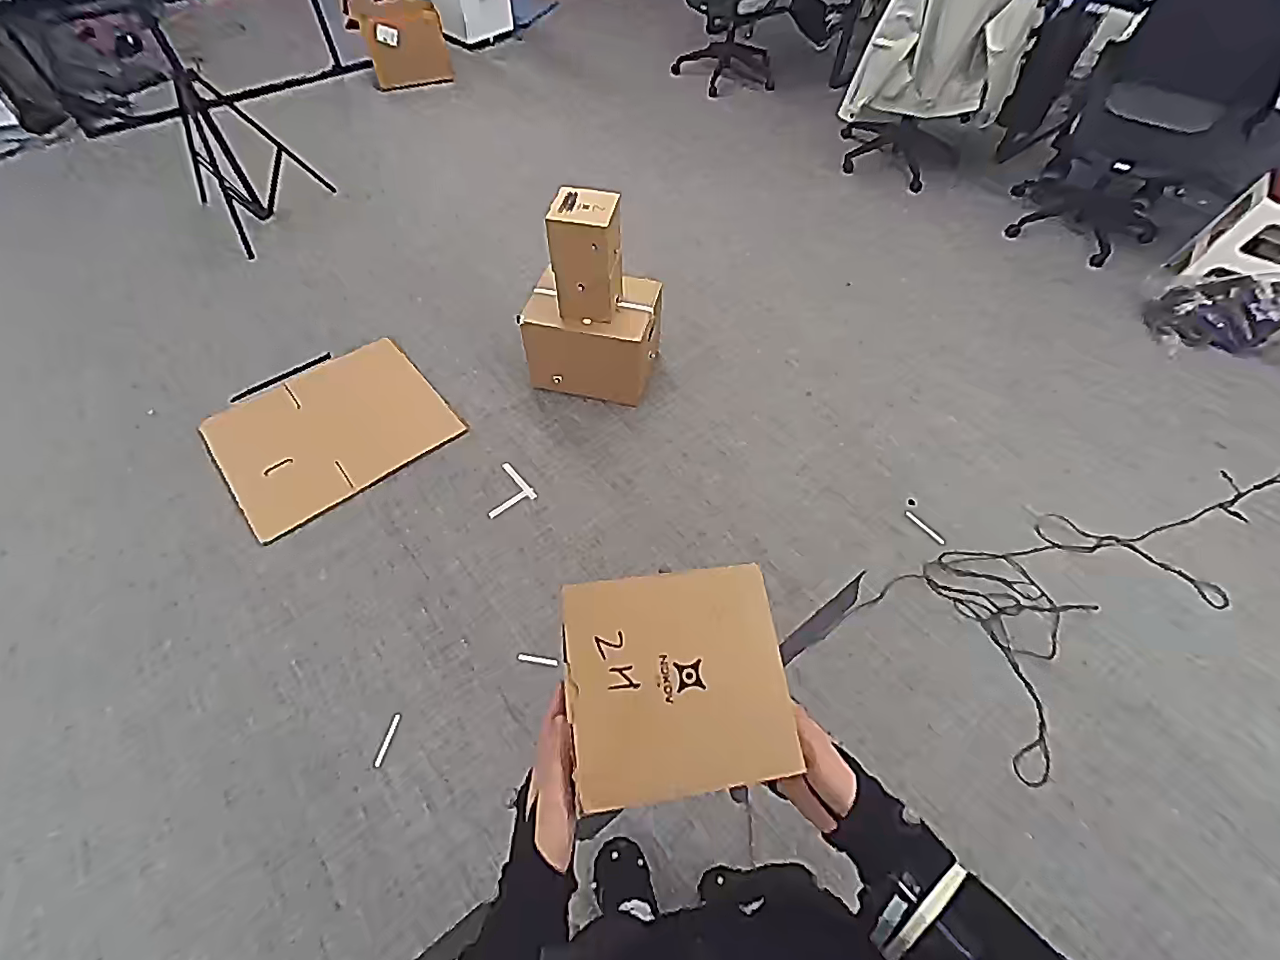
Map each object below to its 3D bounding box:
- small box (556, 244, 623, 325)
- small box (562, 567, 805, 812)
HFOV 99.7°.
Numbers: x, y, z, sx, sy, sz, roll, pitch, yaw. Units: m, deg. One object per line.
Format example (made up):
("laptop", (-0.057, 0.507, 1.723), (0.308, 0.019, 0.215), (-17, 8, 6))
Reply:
("small box", (-0.153, -0.612, 1.705), (0.179, 0.176, 0.168), (10, 58, 5))
("small box", (0.021, 0.185, 0.496), (0.179, 0.176, 0.168), (-5, 67, -9))
